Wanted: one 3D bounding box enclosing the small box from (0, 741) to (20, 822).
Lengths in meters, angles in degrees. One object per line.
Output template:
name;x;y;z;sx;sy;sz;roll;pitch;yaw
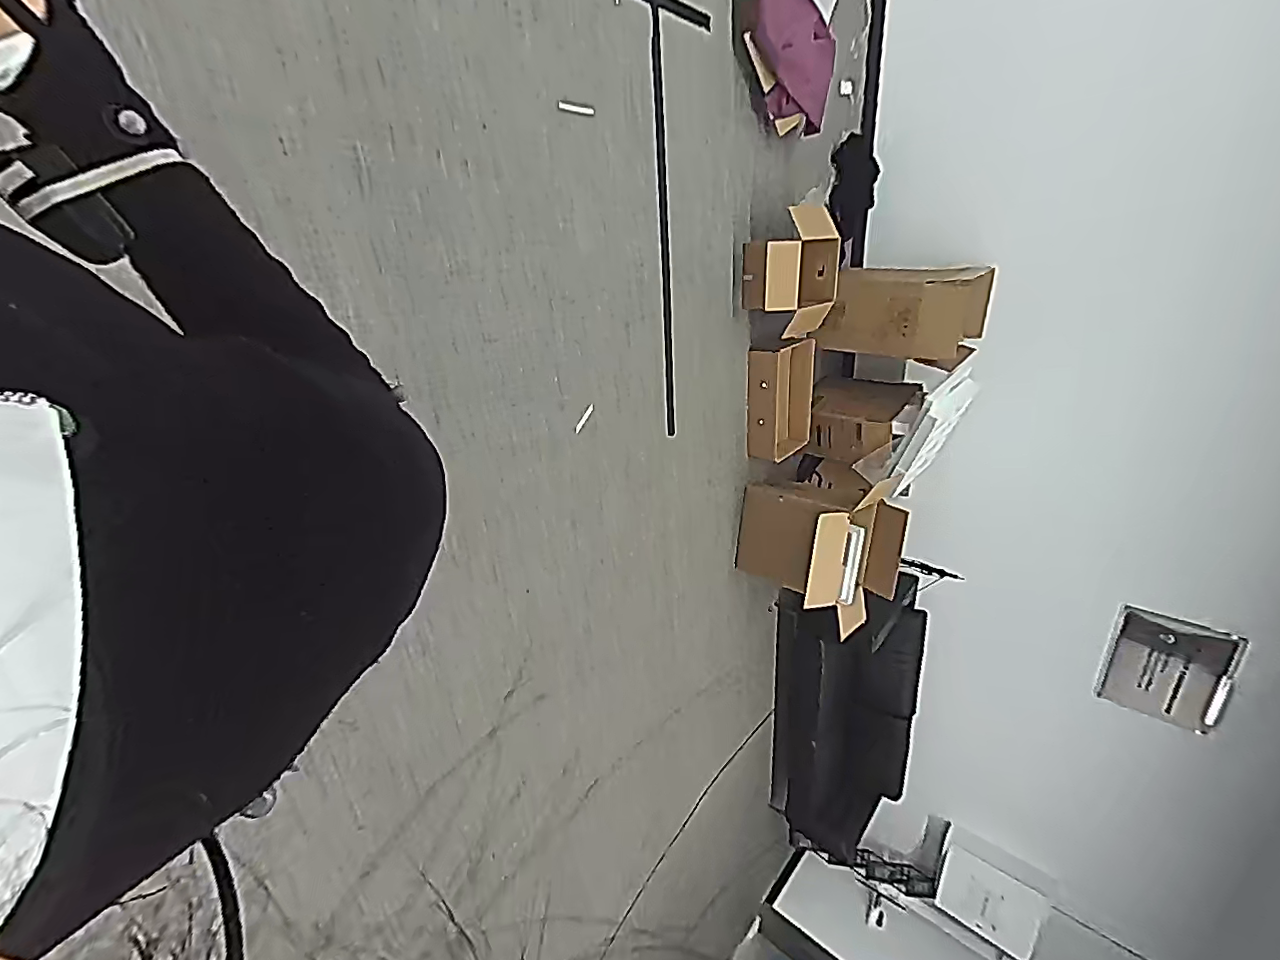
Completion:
small box;-1.102;0.458;0.821;0.168;0.176;0.179;-30;123;-42
